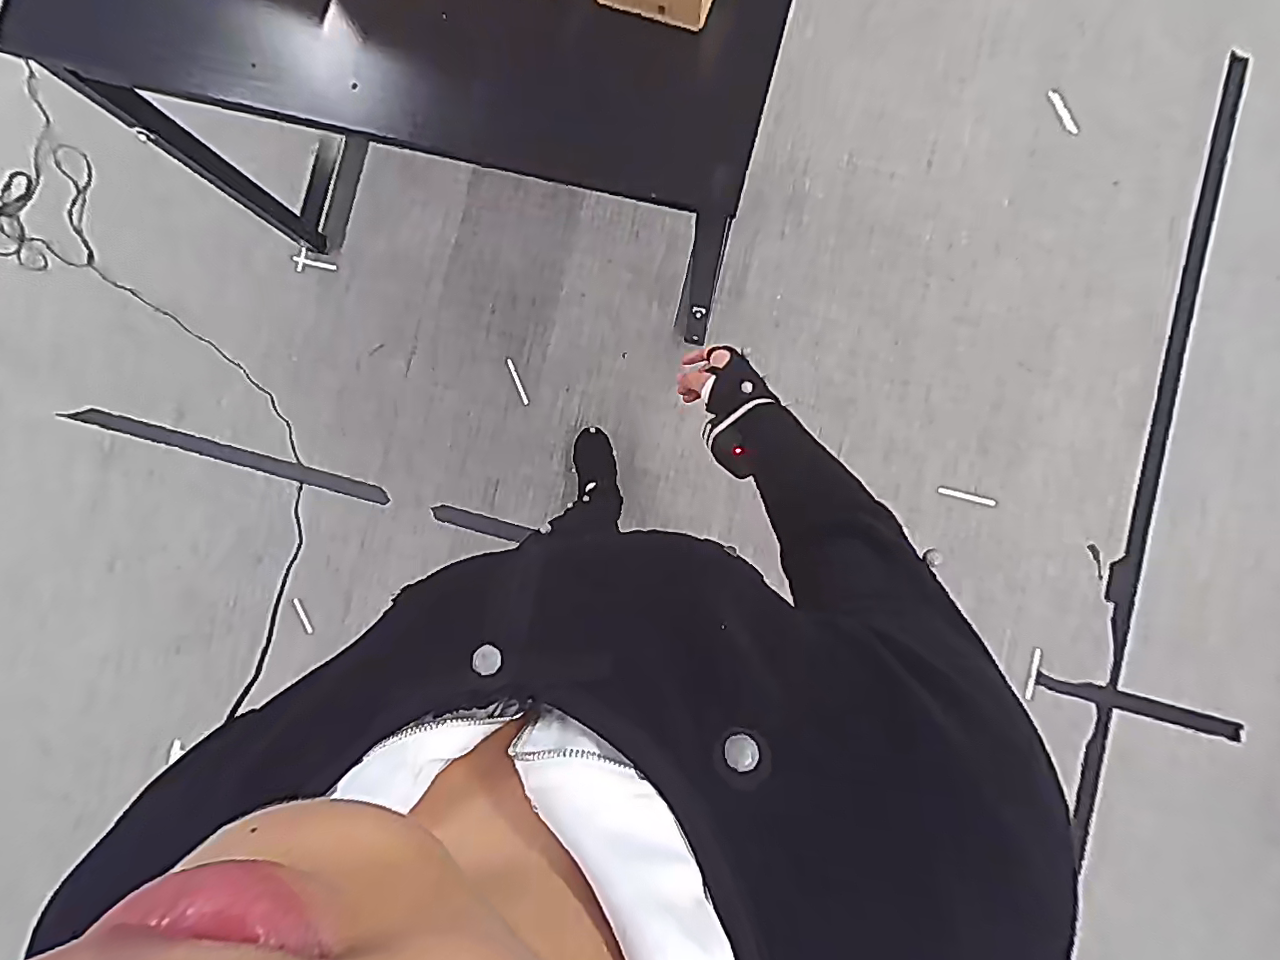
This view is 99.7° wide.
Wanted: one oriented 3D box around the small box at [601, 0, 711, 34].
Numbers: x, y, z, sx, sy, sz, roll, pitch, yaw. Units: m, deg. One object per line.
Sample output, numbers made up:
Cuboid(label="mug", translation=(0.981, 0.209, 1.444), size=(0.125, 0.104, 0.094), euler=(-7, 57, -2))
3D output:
Cuboid(label="small box", translation=(0.034, -0.764, 0.722), size=(0.168, 0.176, 0.179), euler=(20, 88, 4))
